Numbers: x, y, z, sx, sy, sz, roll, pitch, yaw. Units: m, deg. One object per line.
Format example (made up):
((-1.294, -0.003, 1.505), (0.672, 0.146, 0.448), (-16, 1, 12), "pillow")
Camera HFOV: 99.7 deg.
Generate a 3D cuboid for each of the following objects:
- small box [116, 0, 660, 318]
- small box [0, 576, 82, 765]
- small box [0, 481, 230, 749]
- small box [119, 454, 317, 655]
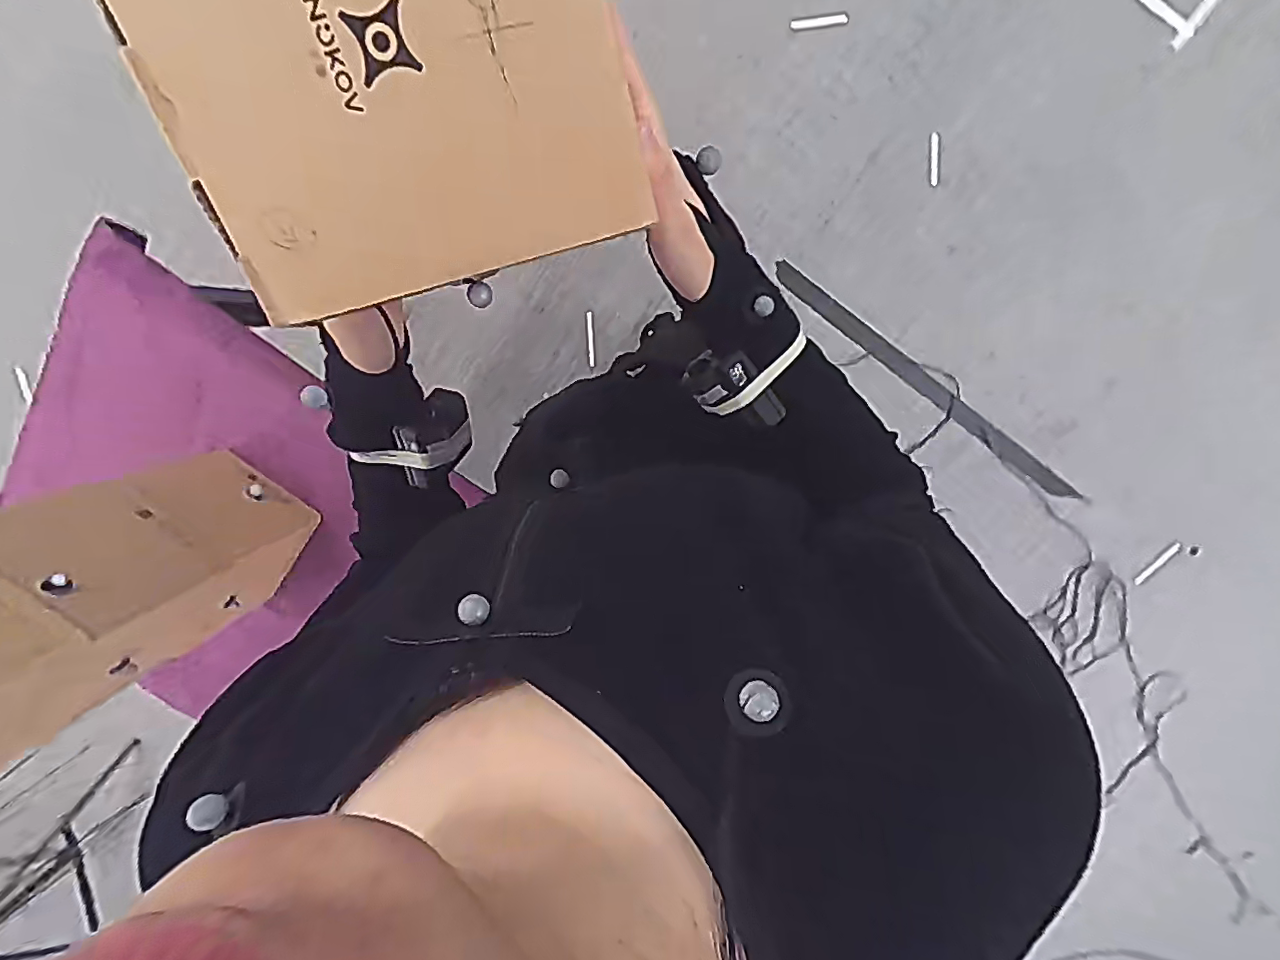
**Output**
((-0.093, -0.191, 0.269), (0.179, 0.176, 0.168), (-13, 115, 5), "small box")
((-0.603, 0.170, 0.416), (0.168, 0.176, 0.179), (39, 105, -7), "small box")
((-0.595, 0.131, 0.574), (0.168, 0.176, 0.179), (39, 106, -7), "small box")
((-0.585, 0.090, 0.733), (0.168, 0.176, 0.179), (37, 105, -7), "small box")
